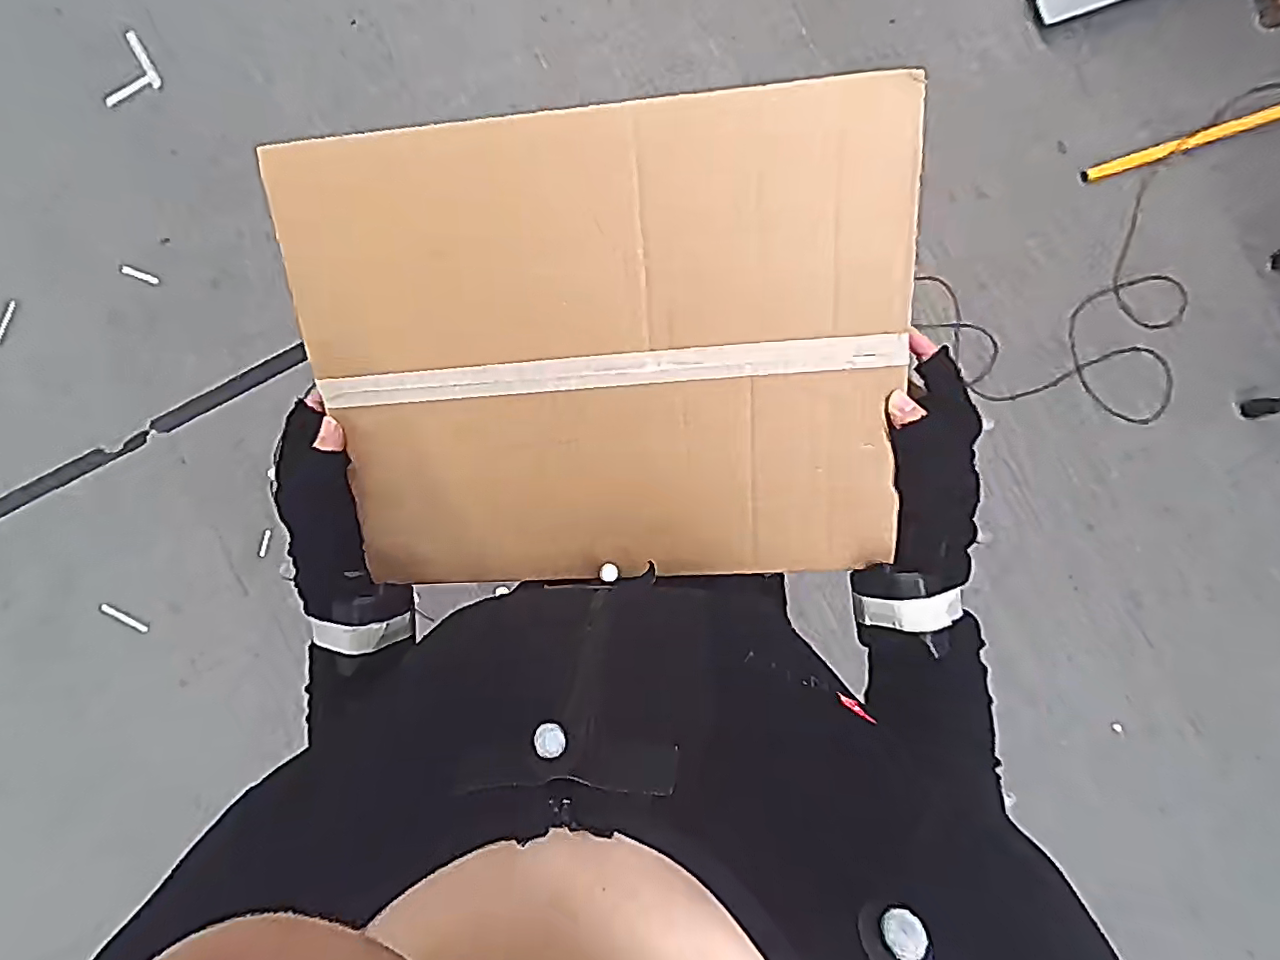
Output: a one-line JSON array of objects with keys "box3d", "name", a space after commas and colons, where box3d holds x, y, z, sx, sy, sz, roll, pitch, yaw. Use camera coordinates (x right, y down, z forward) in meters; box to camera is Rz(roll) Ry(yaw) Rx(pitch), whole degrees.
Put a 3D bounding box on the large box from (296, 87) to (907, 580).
[{"box3d": [-0.013, -0.120, 0.527, 0.408, 0.320, 0.320, -3, 109, 6], "name": "large box"}]
